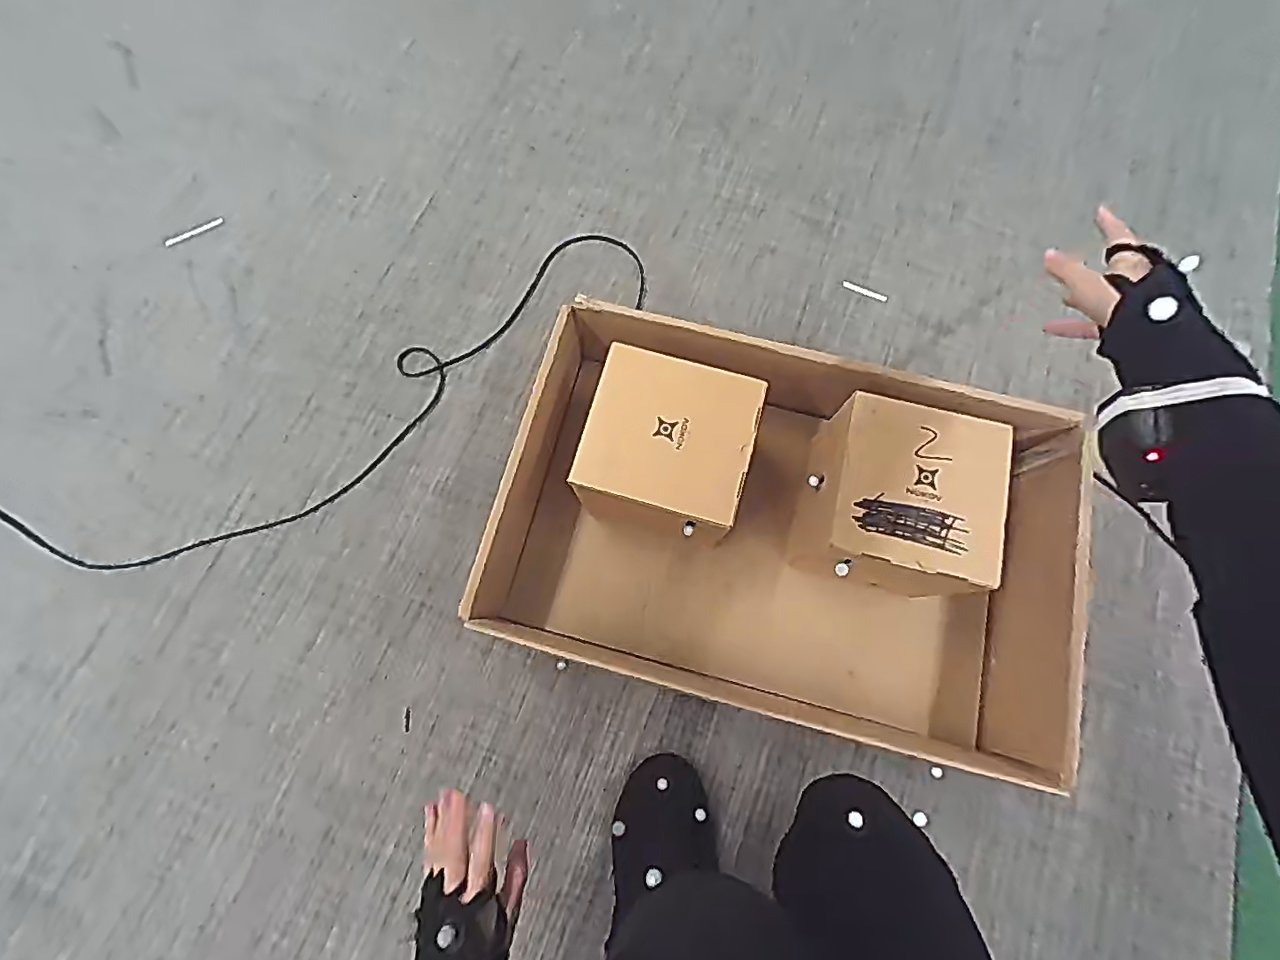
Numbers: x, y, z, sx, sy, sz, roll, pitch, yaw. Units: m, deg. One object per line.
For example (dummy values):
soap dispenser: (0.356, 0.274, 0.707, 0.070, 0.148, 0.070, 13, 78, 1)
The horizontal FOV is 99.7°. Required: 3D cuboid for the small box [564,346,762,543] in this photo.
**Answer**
small box: (0.025, -0.030, 0.643, 0.179, 0.176, 0.168, 15, 77, 3)
